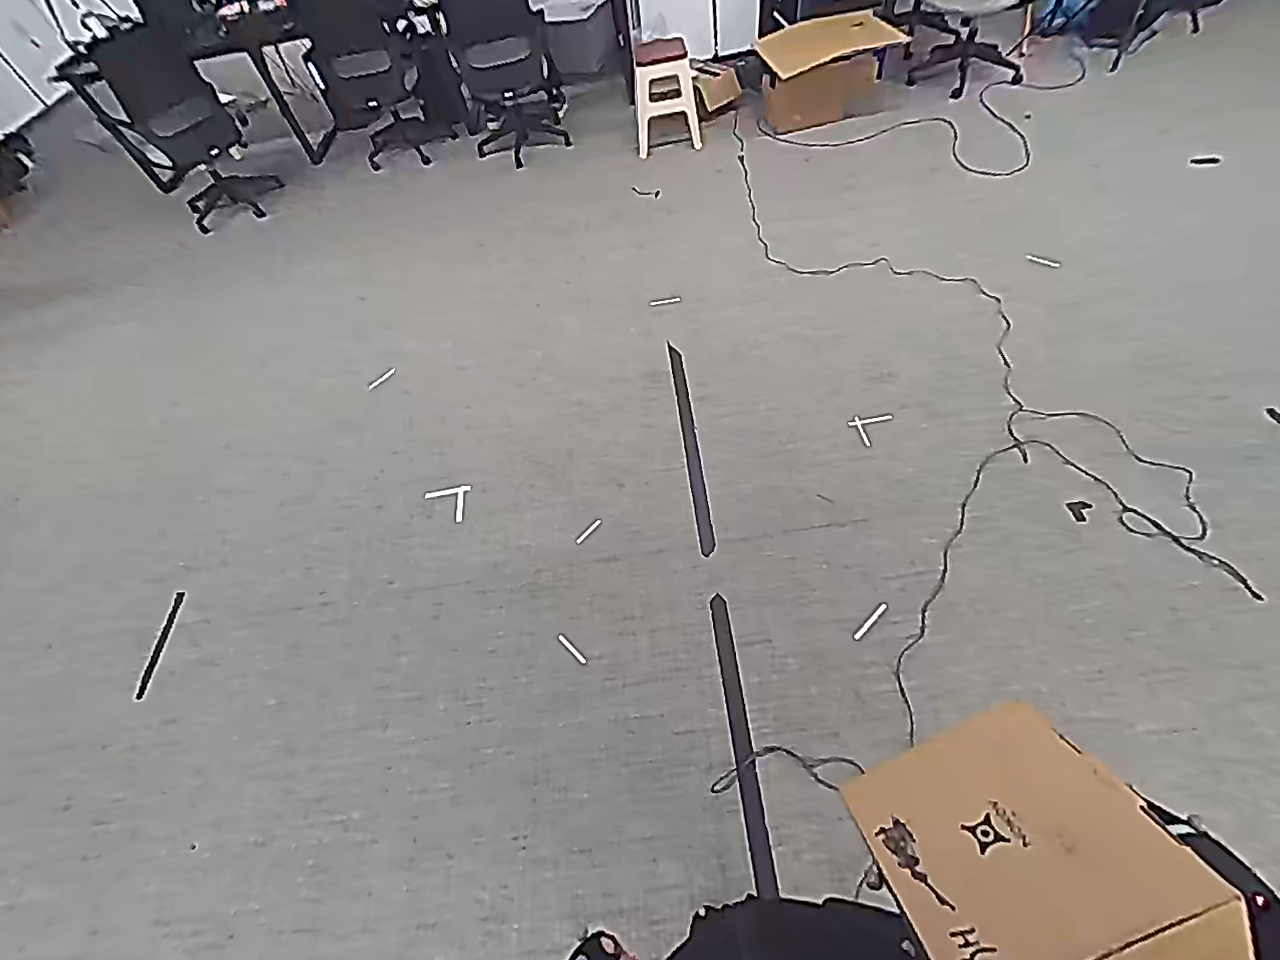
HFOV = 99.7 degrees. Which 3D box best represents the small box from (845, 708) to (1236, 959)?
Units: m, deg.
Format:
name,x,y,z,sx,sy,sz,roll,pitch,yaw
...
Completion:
name,x,y,z,sx,sy,sz,roll,pitch,yaw
small box,0.299,0.327,0.423,0.179,0.176,0.168,-28,18,3
